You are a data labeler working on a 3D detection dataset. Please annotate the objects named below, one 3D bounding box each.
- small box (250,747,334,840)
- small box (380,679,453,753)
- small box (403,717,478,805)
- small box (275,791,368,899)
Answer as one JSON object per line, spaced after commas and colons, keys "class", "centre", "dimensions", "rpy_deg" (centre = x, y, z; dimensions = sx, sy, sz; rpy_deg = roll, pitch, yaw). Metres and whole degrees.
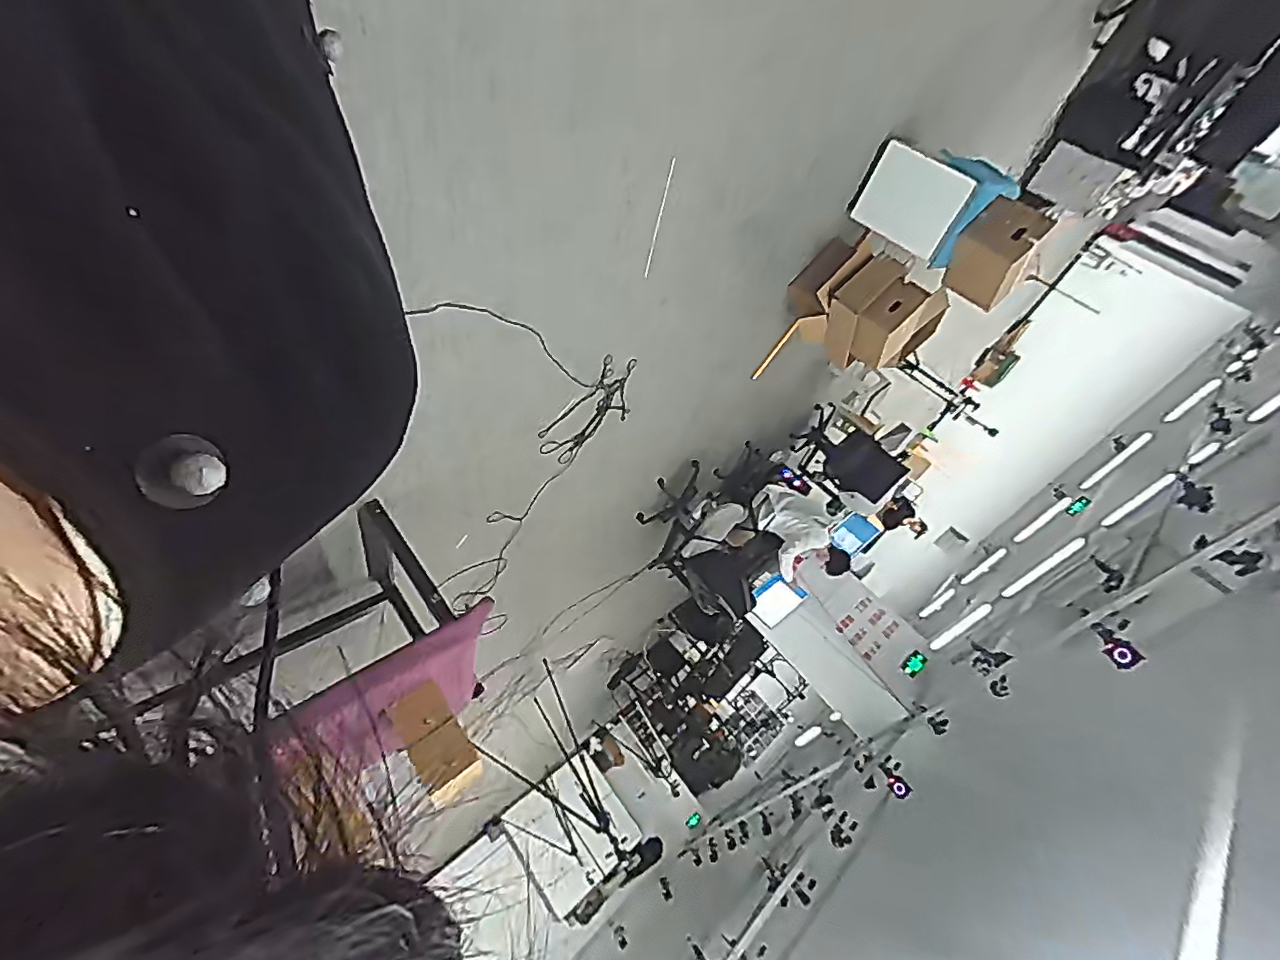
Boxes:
{"class": "small box", "centre": [-1.030, 0.937, 1.614], "dimensions": [0.168, 0.176, 0.179], "rpy_deg": [-25, 150, -38]}
{"class": "small box", "centre": [-0.760, 0.815, 1.849], "dimensions": [0.179, 0.176, 0.168], "rpy_deg": [-28, 151, -32]}
{"class": "small box", "centre": [-0.660, 0.920, 1.778], "dimensions": [0.179, 0.176, 0.168], "rpy_deg": [-30, 152, -31]}
{"class": "small box", "centre": [-0.916, 1.040, 1.554], "dimensions": [0.179, 0.176, 0.168], "rpy_deg": [-16, 144, -47]}
